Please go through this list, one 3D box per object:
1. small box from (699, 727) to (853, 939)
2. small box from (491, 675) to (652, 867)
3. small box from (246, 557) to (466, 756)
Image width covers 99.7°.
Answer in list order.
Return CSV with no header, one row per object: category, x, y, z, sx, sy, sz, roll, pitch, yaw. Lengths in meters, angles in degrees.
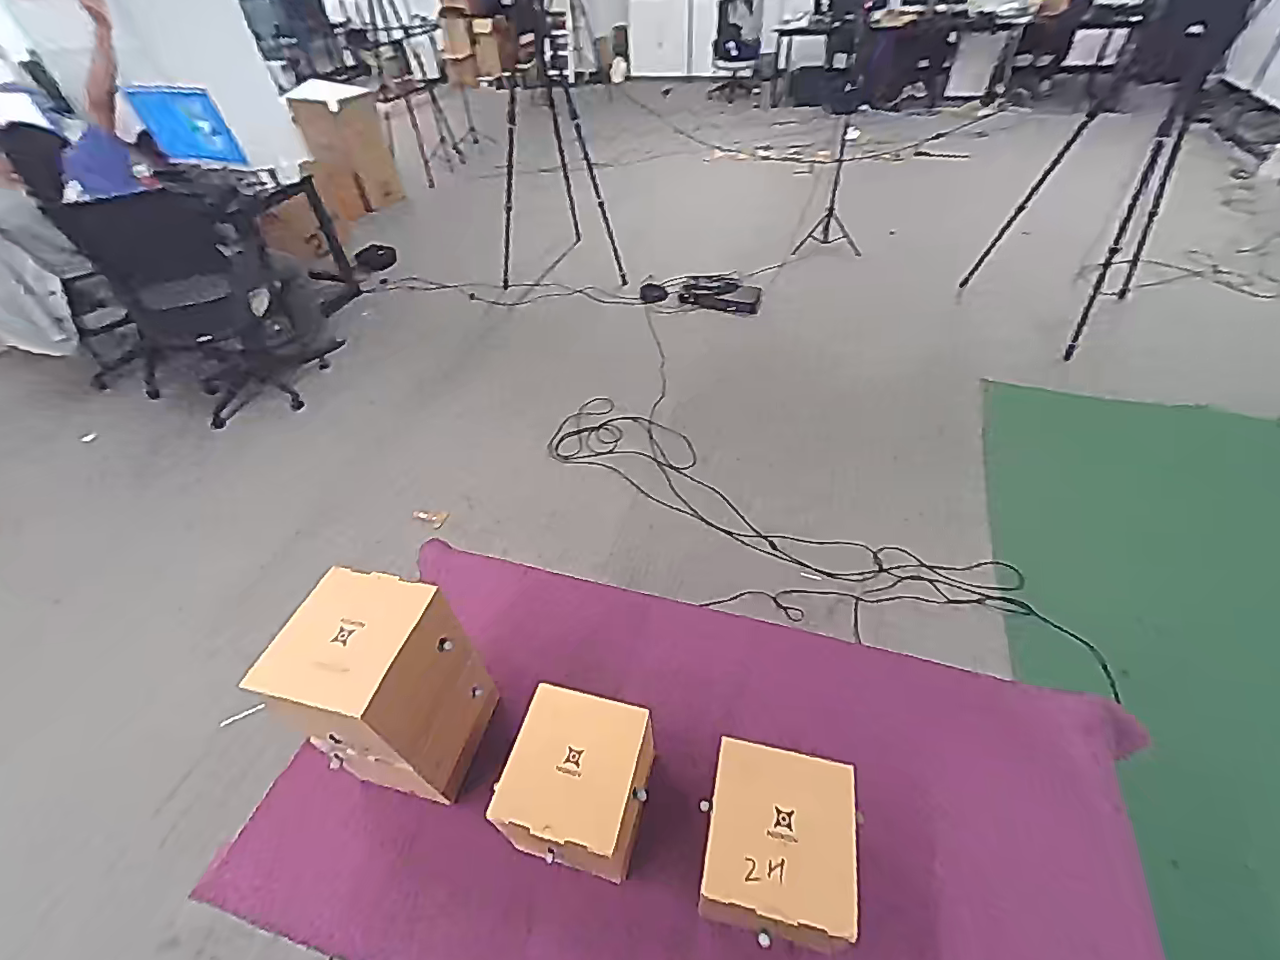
small box,0.170,0.454,0.697,0.168,0.176,0.179,8,48,12
small box,-0.082,0.409,0.761,0.168,0.176,0.179,9,48,13
small box,-0.353,0.233,0.718,0.168,0.176,0.179,9,47,12
